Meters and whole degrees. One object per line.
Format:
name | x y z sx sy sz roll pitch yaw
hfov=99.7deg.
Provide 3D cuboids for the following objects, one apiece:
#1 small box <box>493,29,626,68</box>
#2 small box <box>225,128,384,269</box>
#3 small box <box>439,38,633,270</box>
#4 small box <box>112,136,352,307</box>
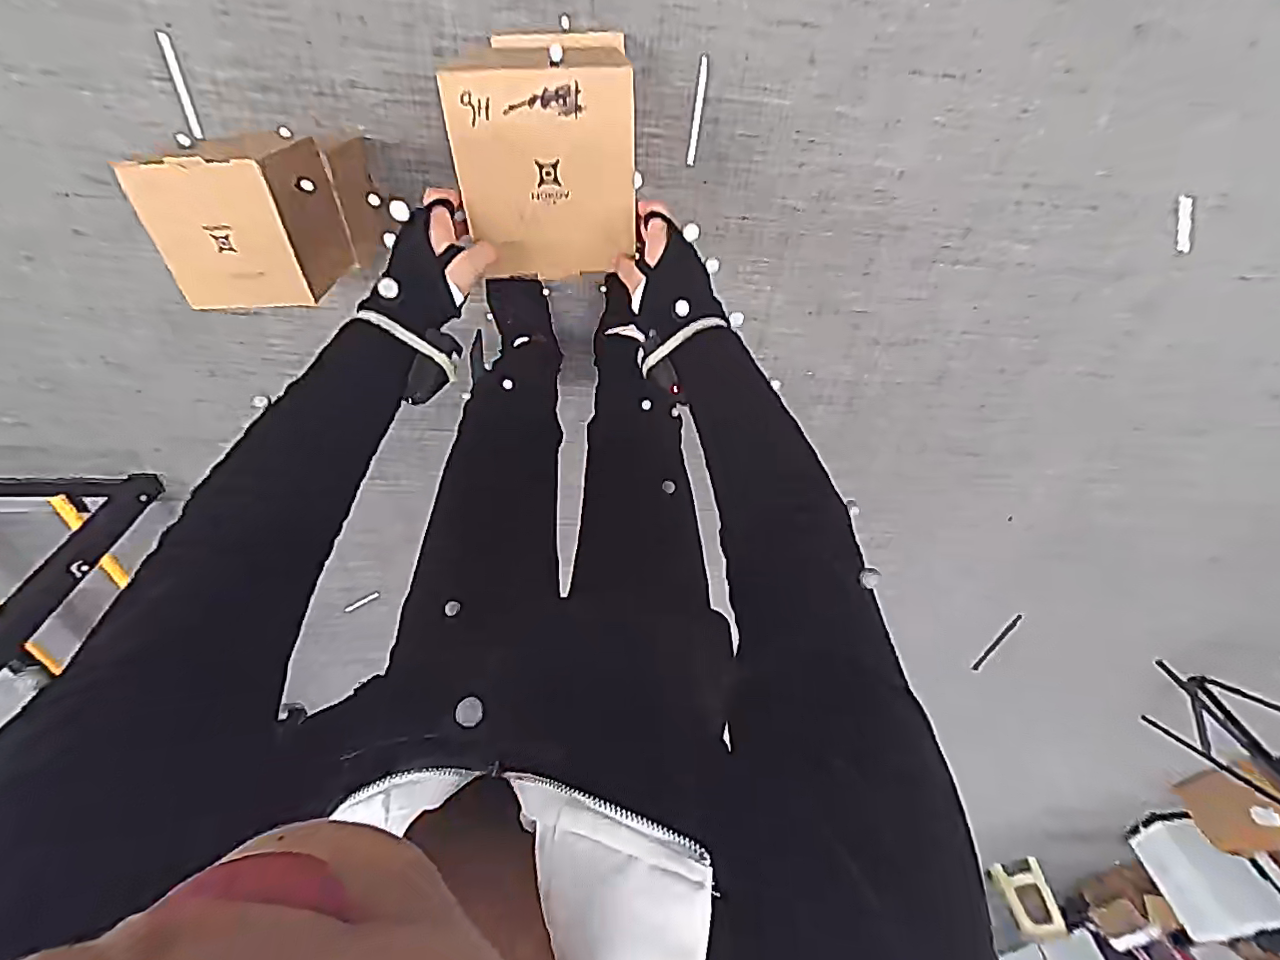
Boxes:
small box | -0.113 -0.564 0.807 0.179 0.176 0.168 -3 130 -3
small box | -0.537 -0.449 0.860 0.179 0.176 0.168 -1 131 -6
small box | -0.095 -0.342 0.569 0.168 0.176 0.179 -4 134 -4
small box | -0.523 -0.352 0.729 0.168 0.176 0.179 -3 132 -2
